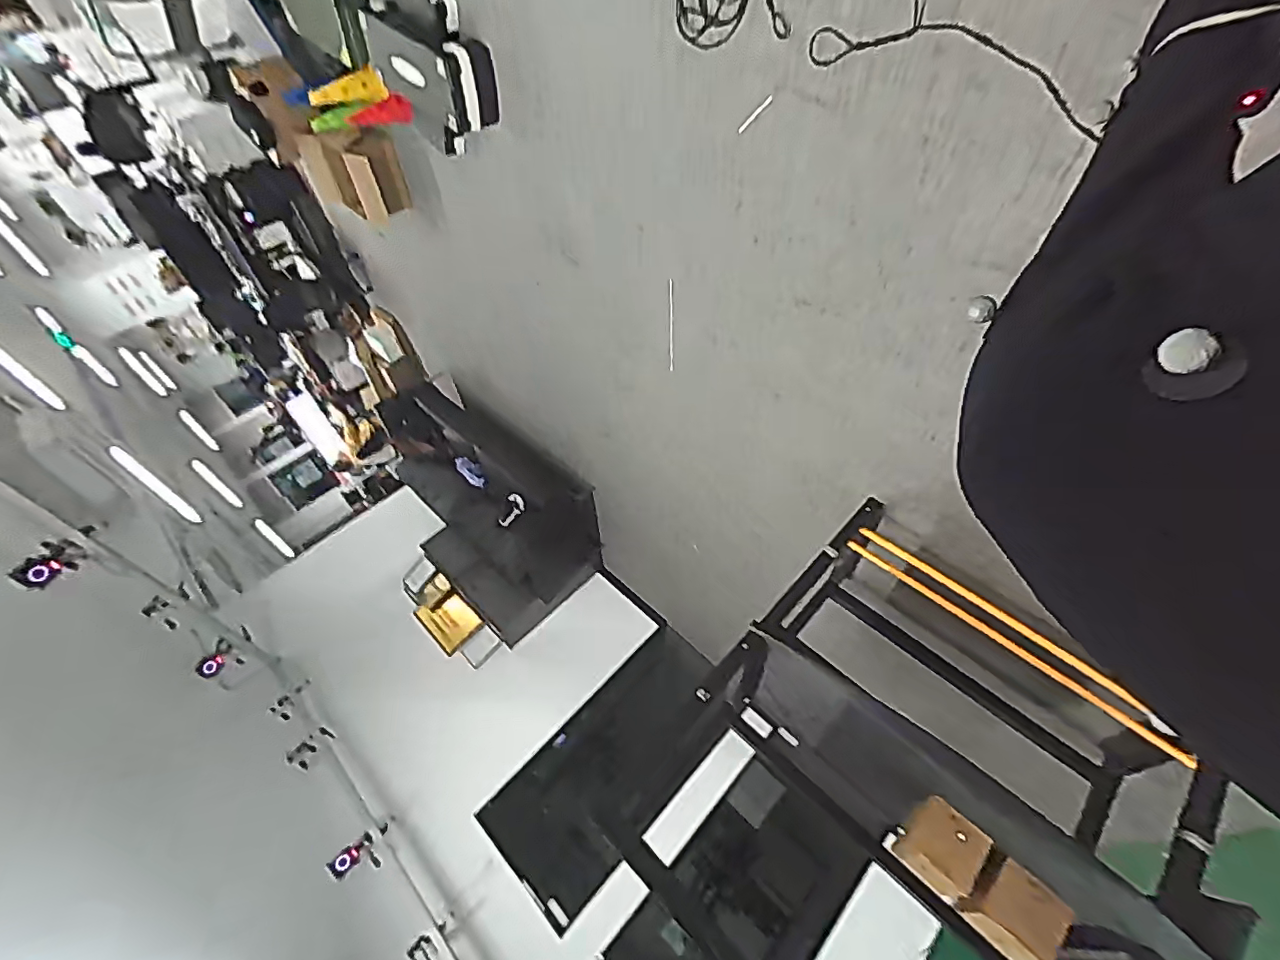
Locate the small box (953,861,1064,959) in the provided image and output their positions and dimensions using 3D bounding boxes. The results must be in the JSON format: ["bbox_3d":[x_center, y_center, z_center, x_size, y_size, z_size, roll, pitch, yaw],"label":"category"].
[{"bbox_3d":[0.986,1.165,1.448,0.168,0.176,0.179,36,151,28],"label":"small box"}]

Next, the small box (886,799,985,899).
[{"bbox_3d":[0.841,1.049,1.541,0.168,0.176,0.179,36,151,28],"label":"small box"}]
